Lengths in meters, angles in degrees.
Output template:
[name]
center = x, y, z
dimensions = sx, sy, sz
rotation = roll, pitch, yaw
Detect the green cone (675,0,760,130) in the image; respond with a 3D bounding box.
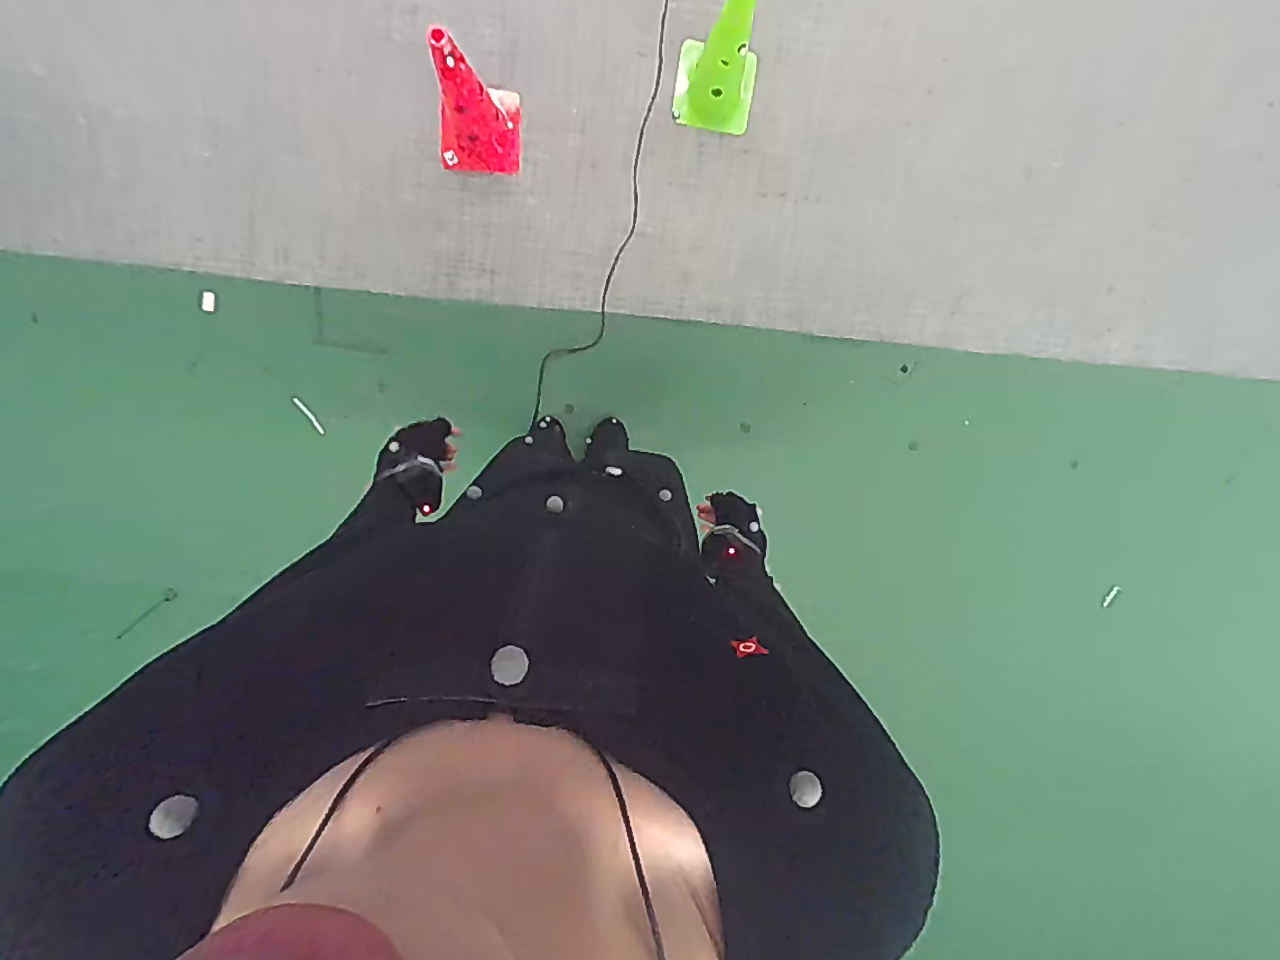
[green cone]
center = 0.209, -0.995, 1.220
dimensions = 0.200, 0.368, 0.202
rotation = 7, 96, -4
